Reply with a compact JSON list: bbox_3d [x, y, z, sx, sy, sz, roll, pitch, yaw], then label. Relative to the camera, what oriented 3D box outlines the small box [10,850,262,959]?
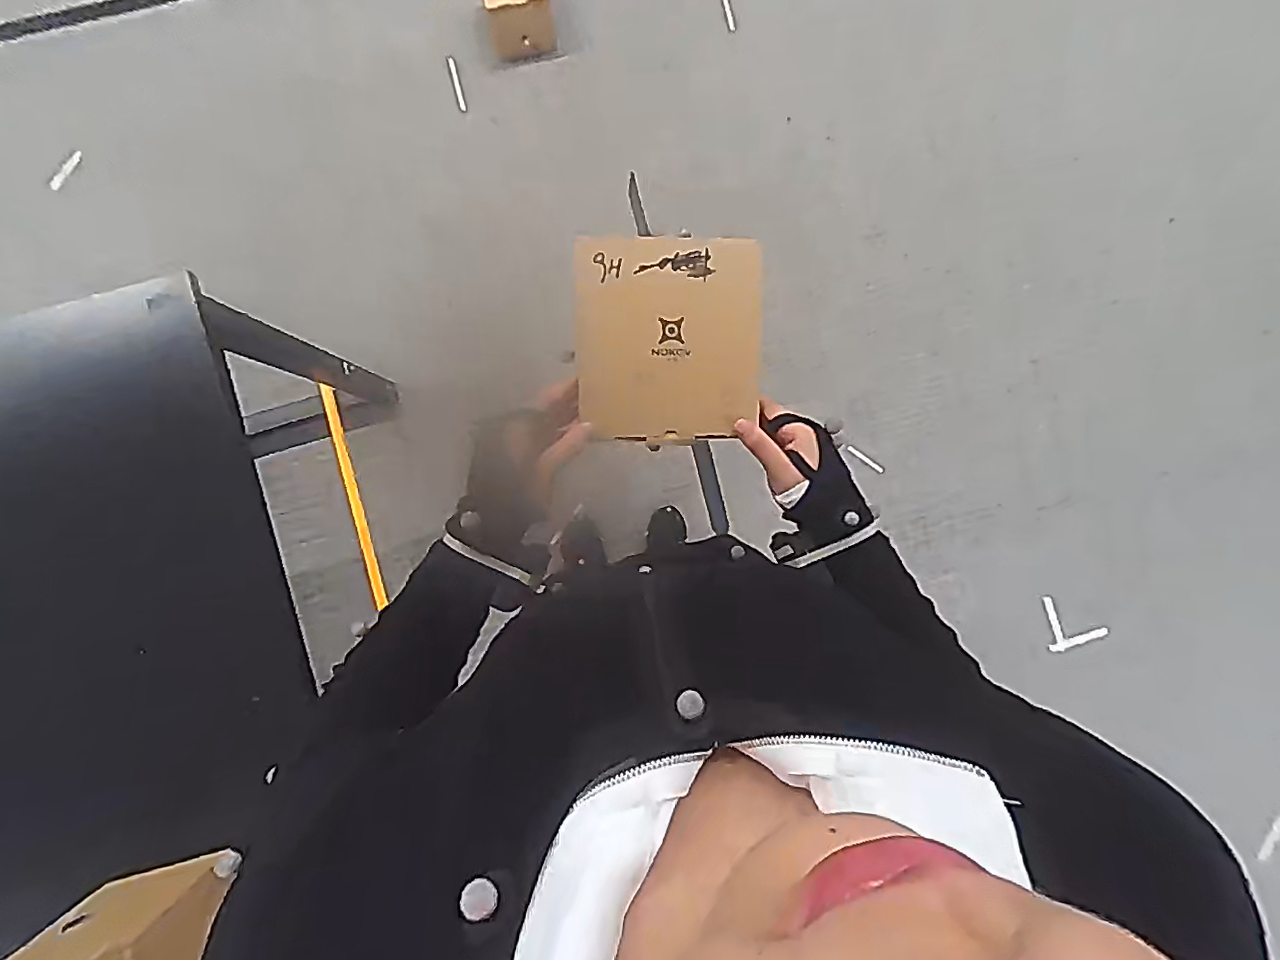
[{"bbox_3d":[-0.620,0.605,0.664,0.179,0.176,0.168,-16,90,-3],"label":"small box"}]

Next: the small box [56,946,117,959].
[{"bbox_3d":[-0.613,0.601,0.500,0.168,0.176,0.179,-17,89,-2],"label":"small box"}]

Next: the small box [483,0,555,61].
[{"bbox_3d":[-0.334,-1.278,1.443,0.168,0.176,0.179,-14,89,-2],"label":"small box"}]
